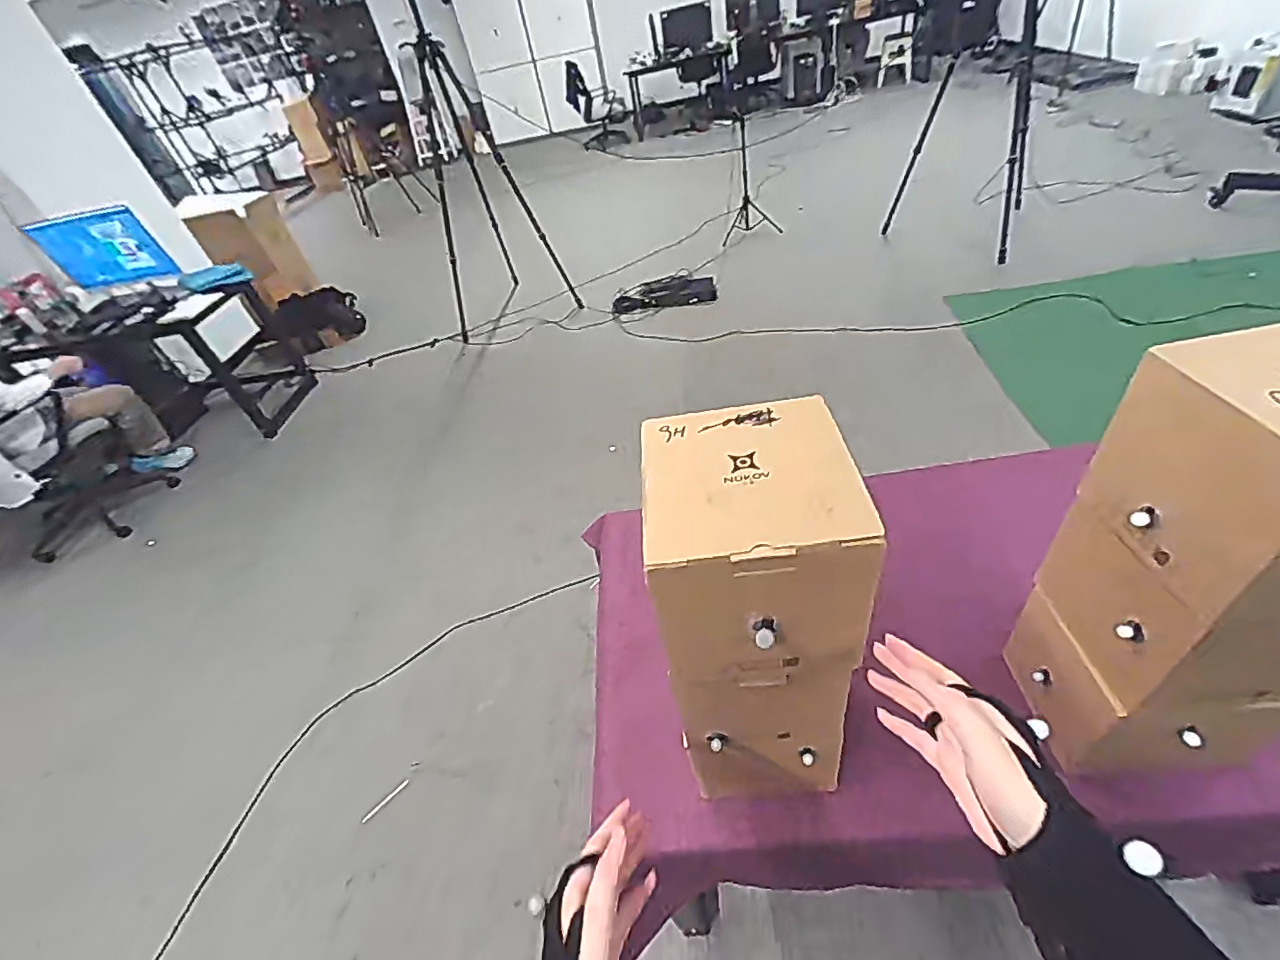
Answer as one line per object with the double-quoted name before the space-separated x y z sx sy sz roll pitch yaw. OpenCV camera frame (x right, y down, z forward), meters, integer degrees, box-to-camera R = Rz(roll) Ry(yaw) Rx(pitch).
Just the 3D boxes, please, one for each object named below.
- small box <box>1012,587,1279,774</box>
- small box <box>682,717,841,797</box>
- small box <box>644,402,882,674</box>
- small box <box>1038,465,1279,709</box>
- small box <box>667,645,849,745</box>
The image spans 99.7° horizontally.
"small box" 0.581 0.235 0.647 0.179 0.176 0.168 -7 43 8
"small box" 0.148 0.294 0.704 0.179 0.176 0.168 -8 42 6
"small box" 0.097 0.058 0.482 0.168 0.176 0.179 -7 42 6
"small box" 0.552 0.113 0.544 0.168 0.176 0.179 -8 41 6
"small box" 0.120 0.174 0.597 0.168 0.176 0.179 -8 40 6
